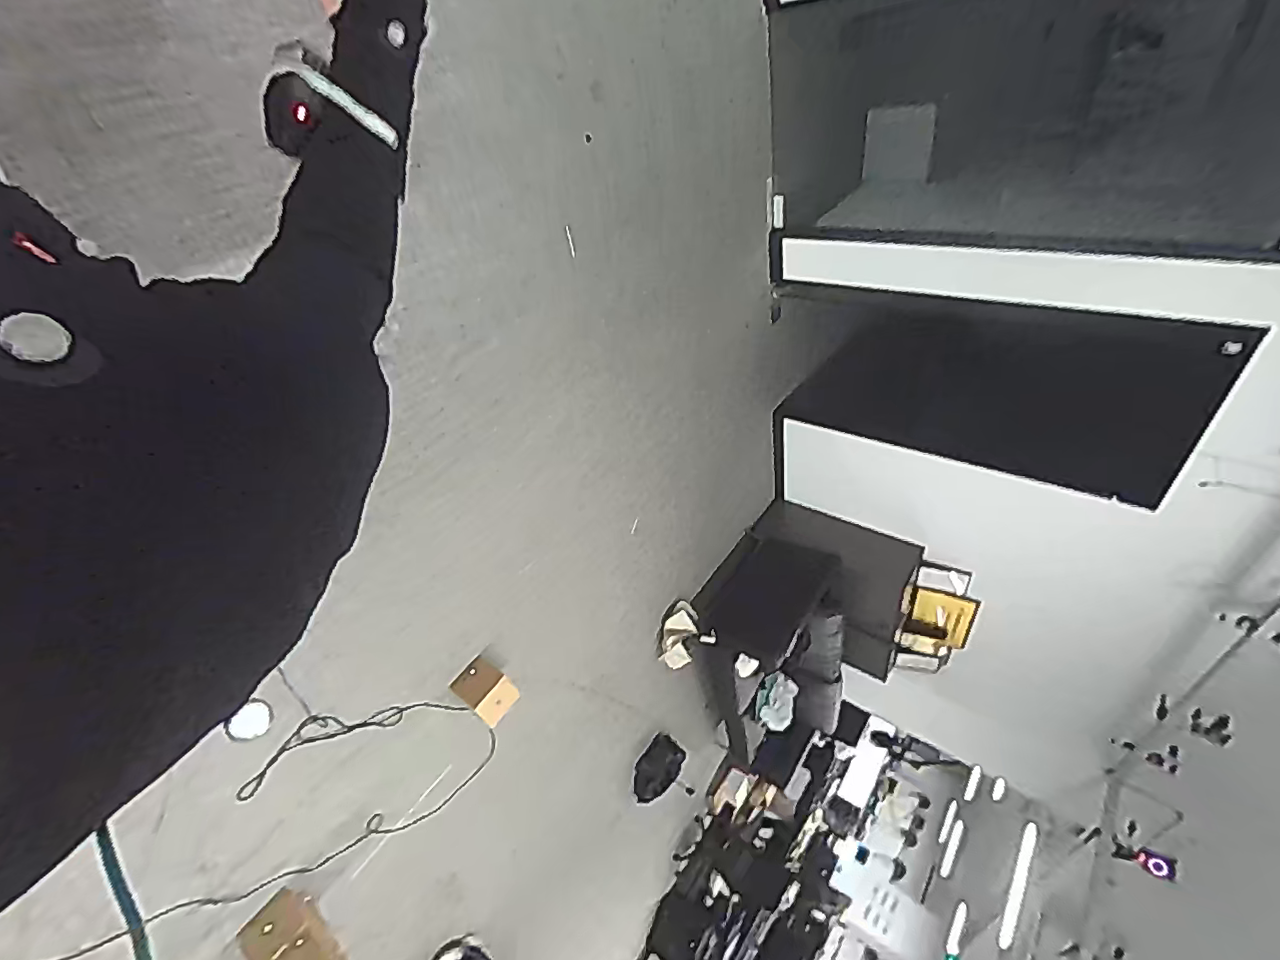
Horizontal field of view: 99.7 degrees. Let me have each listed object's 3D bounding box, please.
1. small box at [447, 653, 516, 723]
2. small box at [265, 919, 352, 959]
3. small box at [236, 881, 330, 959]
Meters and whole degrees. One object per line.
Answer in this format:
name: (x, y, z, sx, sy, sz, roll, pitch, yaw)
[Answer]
small box: (-0.635, 0.828, 2.168, 0.168, 0.176, 0.179, -47, 140, -30)
small box: (-1.036, 1.514, 1.675, 0.168, 0.176, 0.179, -43, 140, -33)
small box: (-1.164, 1.457, 1.761, 0.168, 0.176, 0.179, -44, 138, -33)
